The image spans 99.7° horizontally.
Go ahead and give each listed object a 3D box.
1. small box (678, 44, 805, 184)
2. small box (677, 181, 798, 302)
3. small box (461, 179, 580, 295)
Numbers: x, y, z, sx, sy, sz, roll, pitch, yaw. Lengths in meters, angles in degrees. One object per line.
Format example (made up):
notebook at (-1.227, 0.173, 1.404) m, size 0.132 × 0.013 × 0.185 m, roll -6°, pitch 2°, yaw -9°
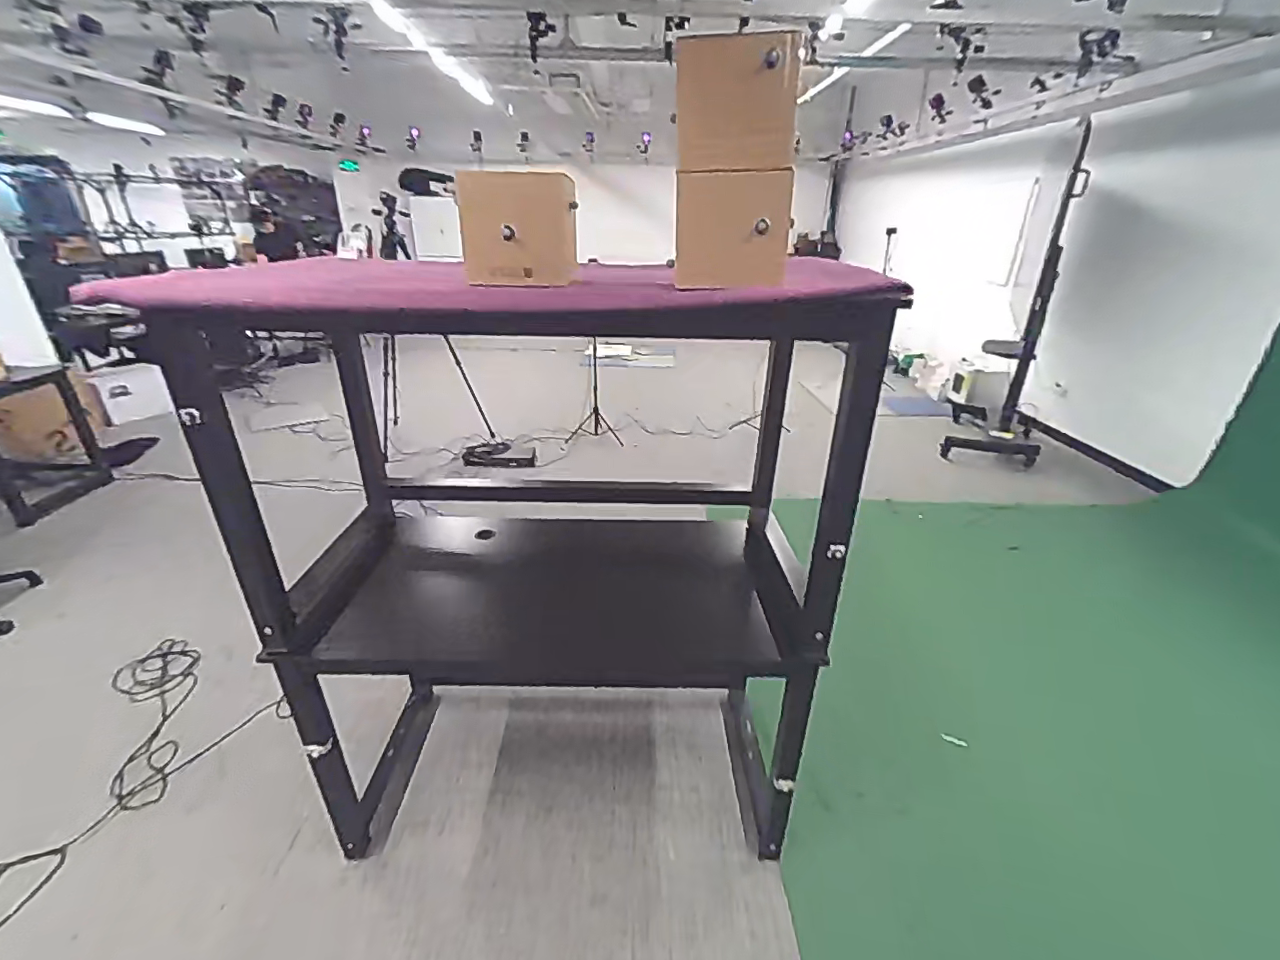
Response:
small box at (0.152, -0.547, 0.849) m, size 0.179 × 0.176 × 0.168 m, roll 3°, pitch 22°, yaw 7°
small box at (0.154, -0.394, 0.904) m, size 0.179 × 0.176 × 0.168 m, roll 1°, pitch 22°, yaw 5°
small box at (-0.194, -0.417, 0.937) m, size 0.168 × 0.176 × 0.179 m, roll 2°, pitch 24°, yaw 0°
